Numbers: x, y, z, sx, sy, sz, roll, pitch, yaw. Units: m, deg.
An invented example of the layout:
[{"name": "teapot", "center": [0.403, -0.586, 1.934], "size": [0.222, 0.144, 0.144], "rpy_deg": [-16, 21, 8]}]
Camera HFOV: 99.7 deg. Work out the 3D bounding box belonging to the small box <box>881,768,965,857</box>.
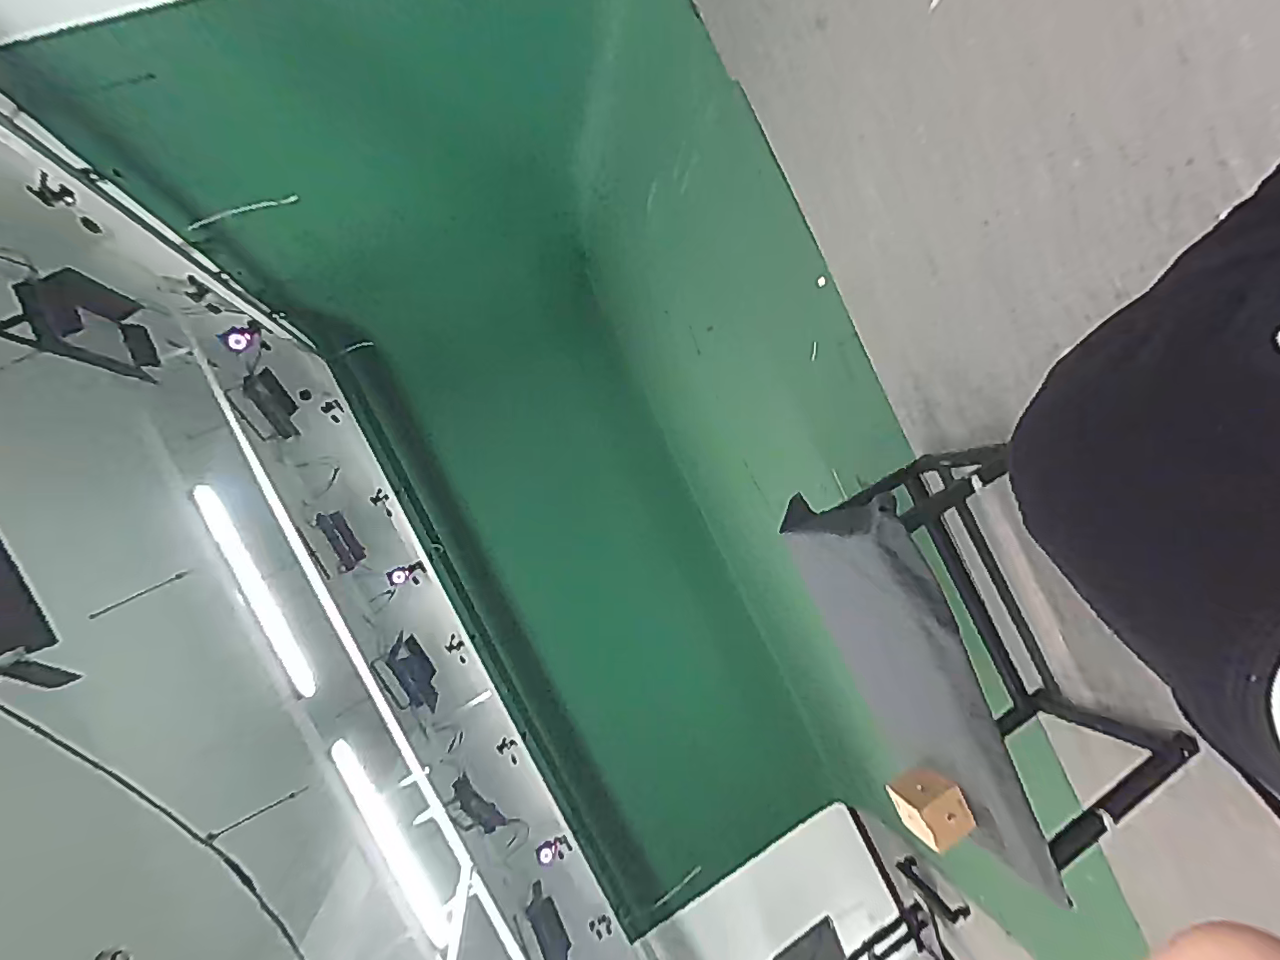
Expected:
[{"name": "small box", "center": [0.984, 1.139, 1.870], "size": [0.168, 0.176, 0.179], "rpy_deg": [65, 167, -3]}]
